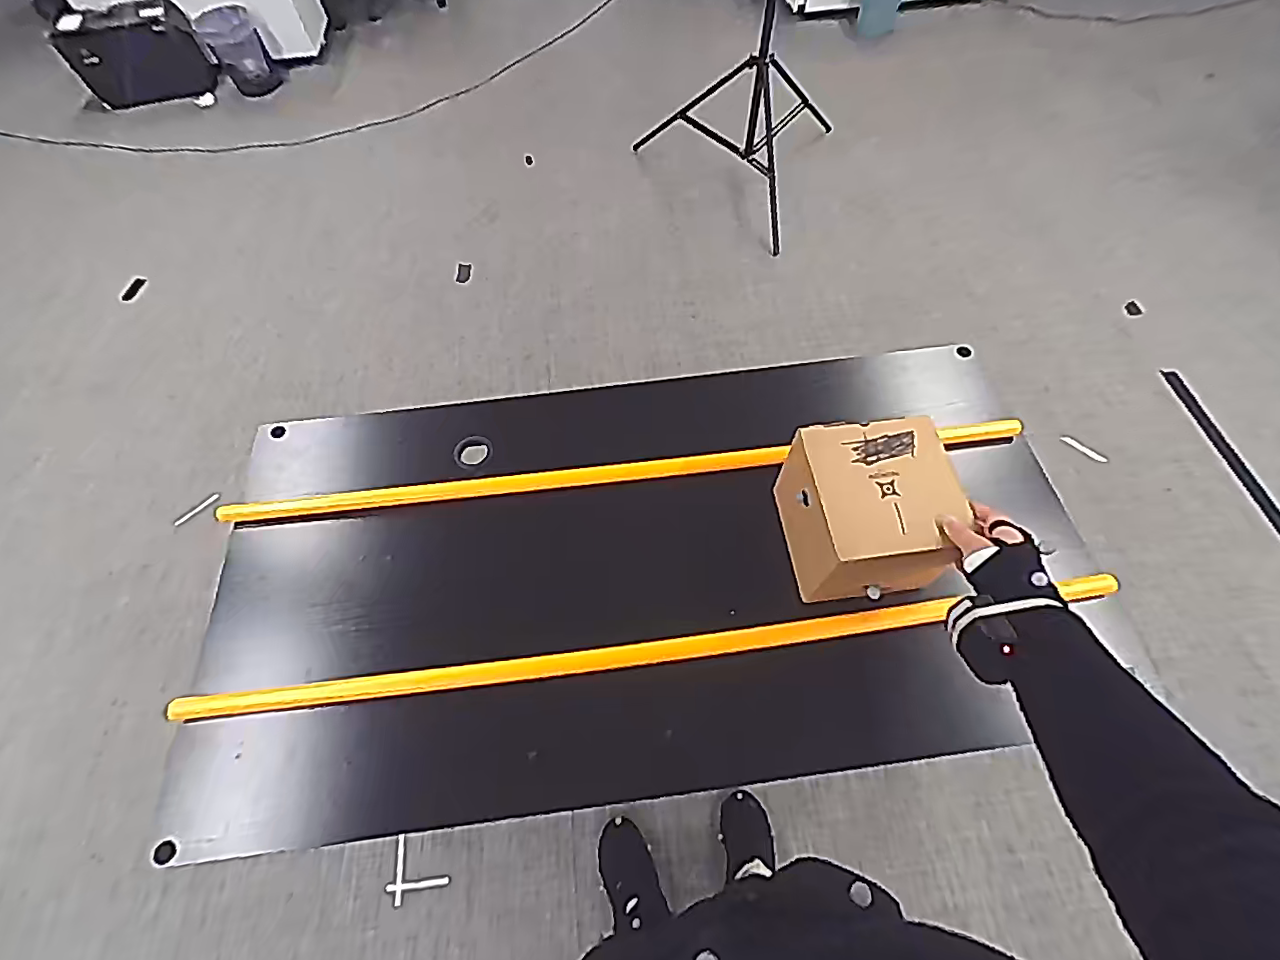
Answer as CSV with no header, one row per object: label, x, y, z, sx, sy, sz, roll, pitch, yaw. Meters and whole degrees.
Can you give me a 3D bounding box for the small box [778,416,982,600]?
small box,0.289,0.041,0.700,0.168,0.176,0.179,-7,62,-1
